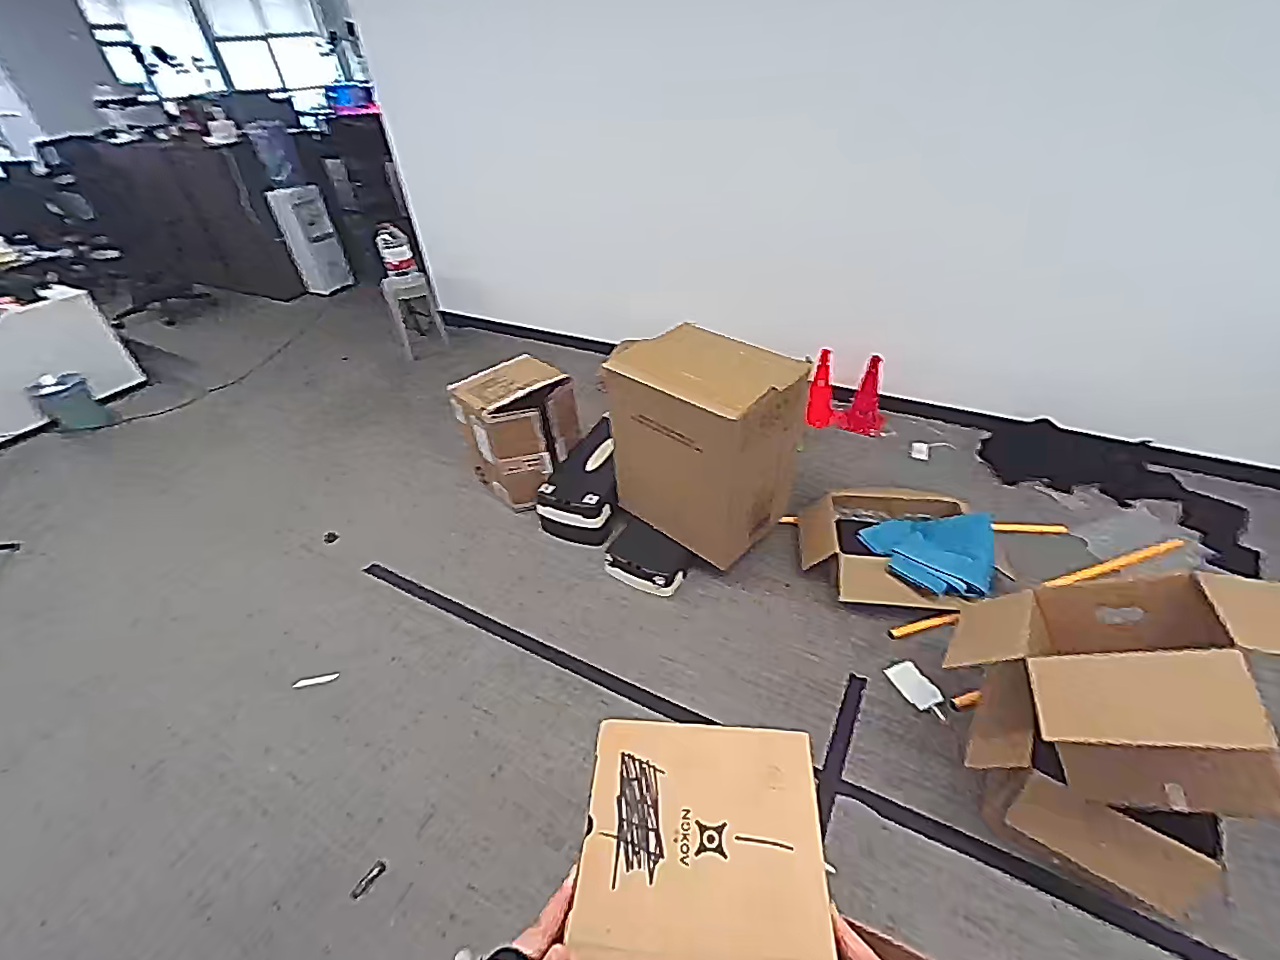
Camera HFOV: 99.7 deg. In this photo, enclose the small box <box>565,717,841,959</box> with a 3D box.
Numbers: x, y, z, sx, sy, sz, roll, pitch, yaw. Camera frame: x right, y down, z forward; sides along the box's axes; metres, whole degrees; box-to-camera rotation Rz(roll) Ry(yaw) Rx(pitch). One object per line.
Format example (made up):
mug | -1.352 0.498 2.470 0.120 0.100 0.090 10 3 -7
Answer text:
small box | 0.053 0.317 0.443 0.179 0.176 0.168 0 40 8
